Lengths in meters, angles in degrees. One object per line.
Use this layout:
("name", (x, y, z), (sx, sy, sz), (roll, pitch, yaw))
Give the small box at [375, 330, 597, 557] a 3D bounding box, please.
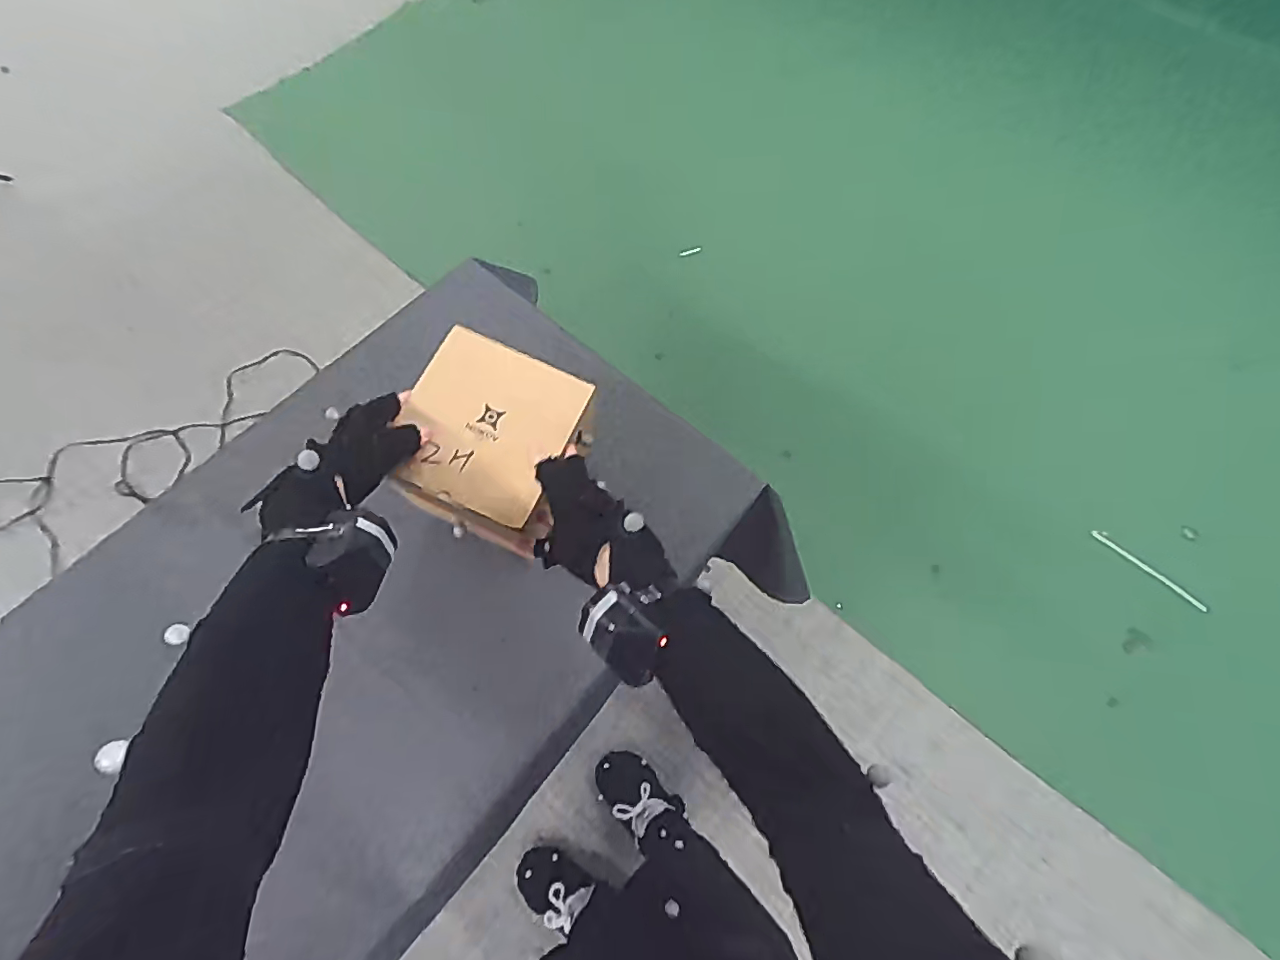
("small box", (-0.162, -0.032, 0.626), (0.168, 0.176, 0.179), (24, 71, 3))
